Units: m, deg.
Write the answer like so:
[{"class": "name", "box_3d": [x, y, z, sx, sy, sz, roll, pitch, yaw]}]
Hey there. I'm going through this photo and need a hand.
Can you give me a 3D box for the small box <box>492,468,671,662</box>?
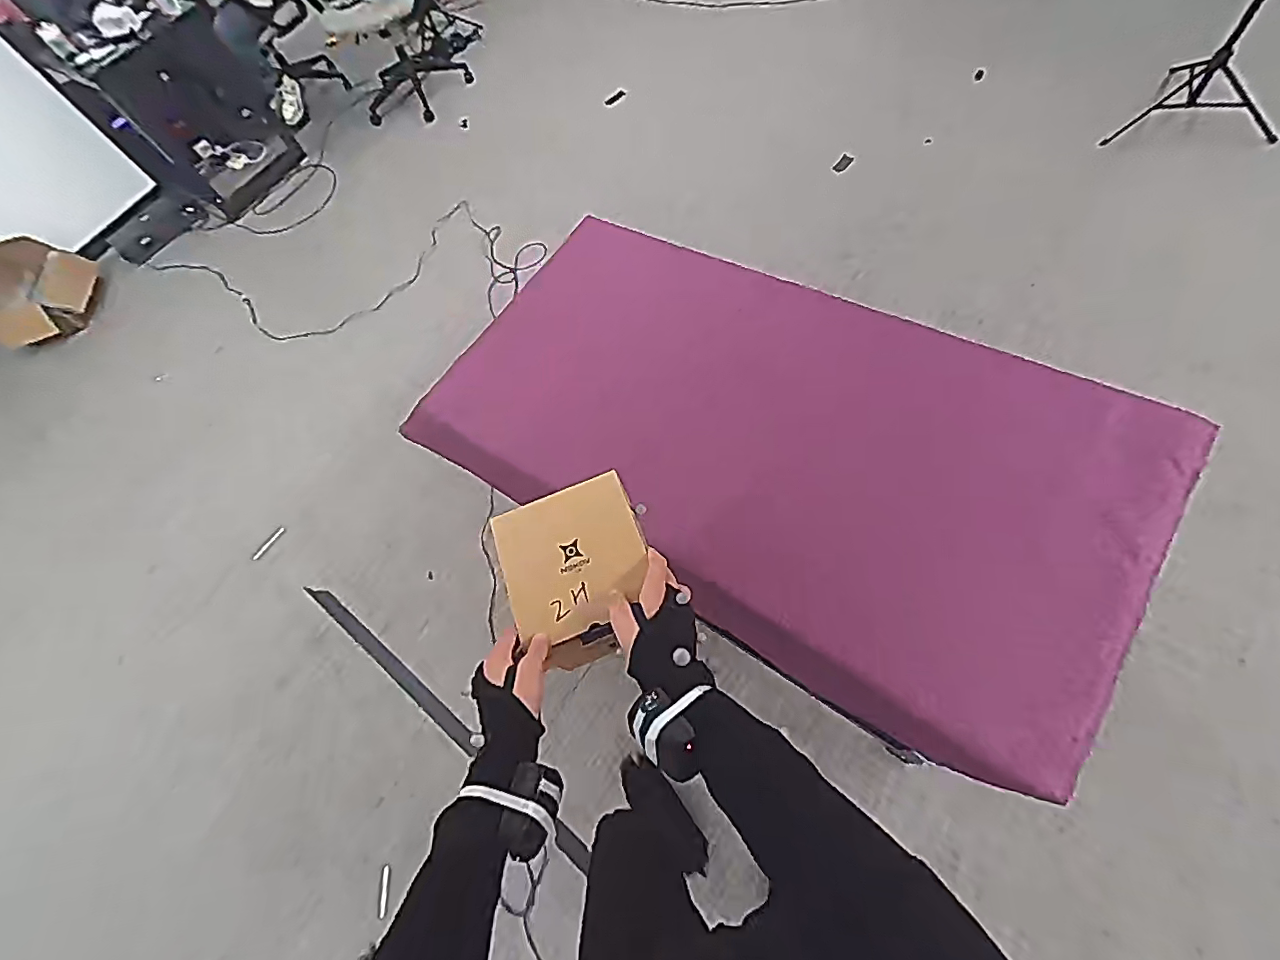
[{"class": "small box", "box_3d": [-0.068, 0.116, 0.696, 0.168, 0.176, 0.179, -21, 64, 0]}]
